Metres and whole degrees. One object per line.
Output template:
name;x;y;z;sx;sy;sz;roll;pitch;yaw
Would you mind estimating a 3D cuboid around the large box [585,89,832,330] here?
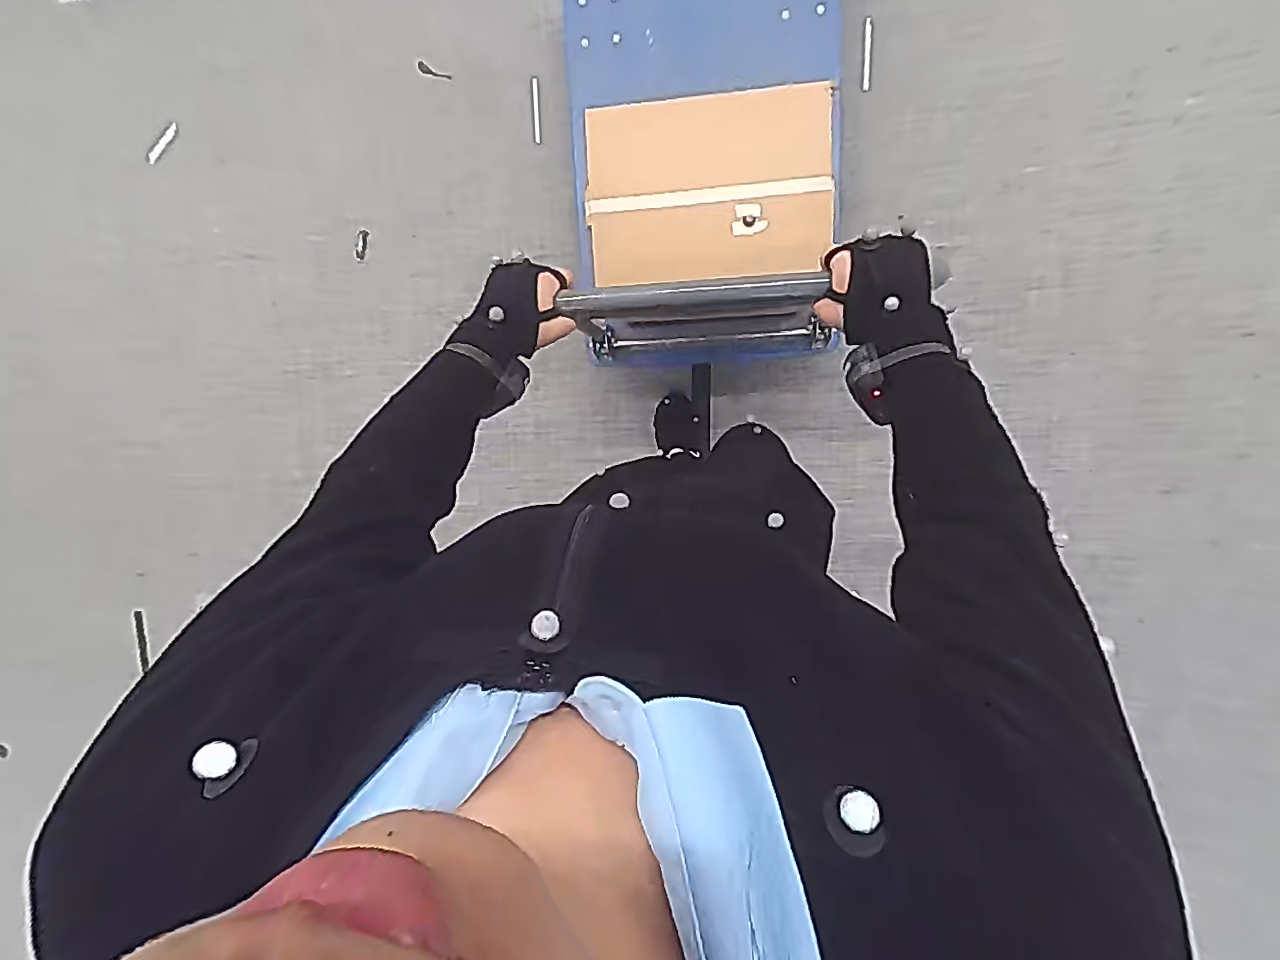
large box;0.127;-0.480;1.042;0.408;0.320;0.320;-2;99;6
